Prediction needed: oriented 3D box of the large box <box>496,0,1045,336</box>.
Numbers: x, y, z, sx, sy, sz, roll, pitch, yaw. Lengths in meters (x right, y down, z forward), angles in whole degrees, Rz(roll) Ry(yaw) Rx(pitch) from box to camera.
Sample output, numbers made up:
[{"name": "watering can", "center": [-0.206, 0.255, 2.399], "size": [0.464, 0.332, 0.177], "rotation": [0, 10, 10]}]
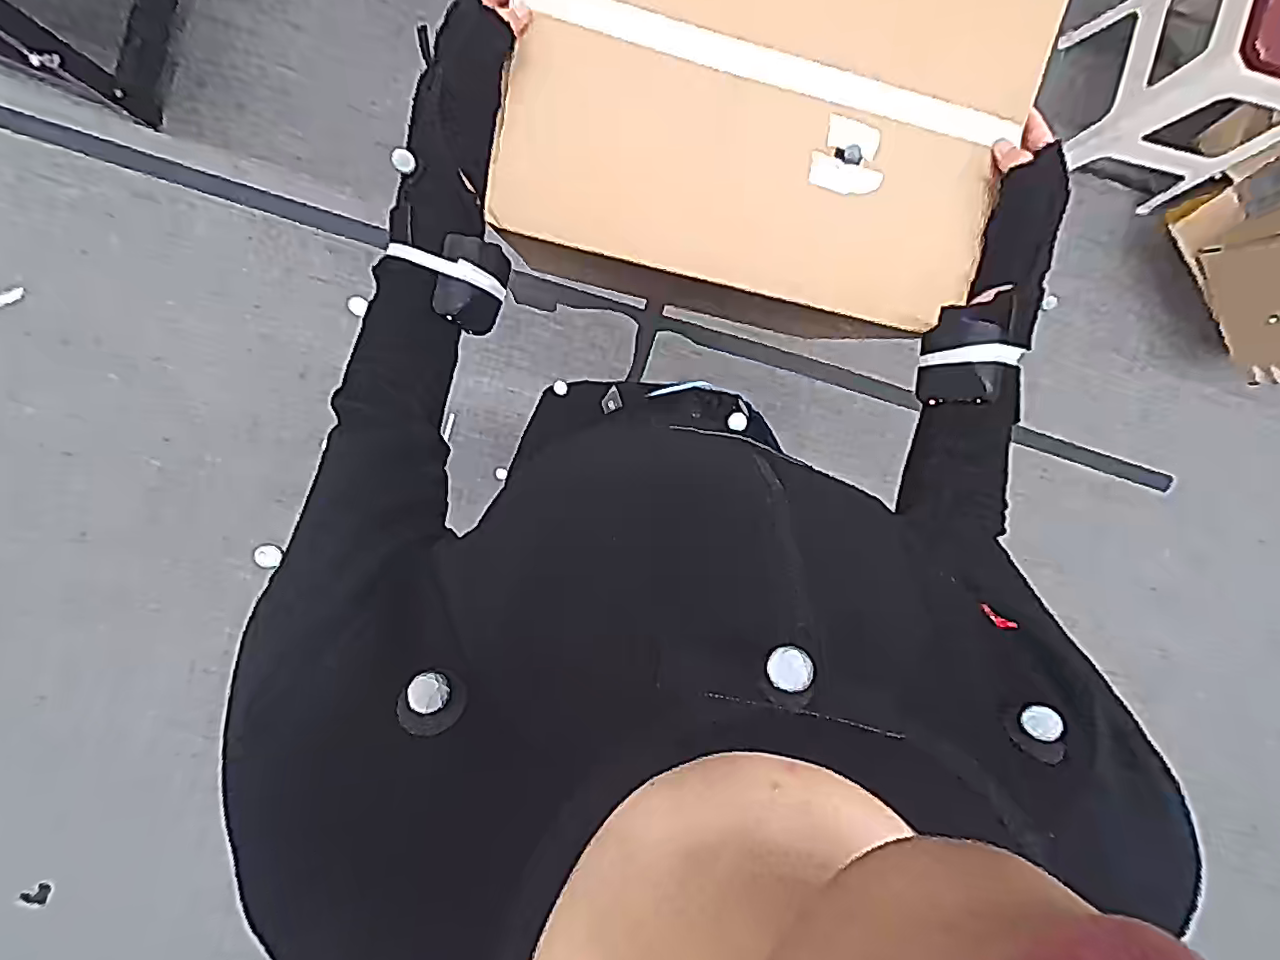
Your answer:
[{"name": "large box", "center": [0.089, -0.347, 0.568], "size": [0.408, 0.320, 0.320], "rotation": [11, 104, -9]}]
